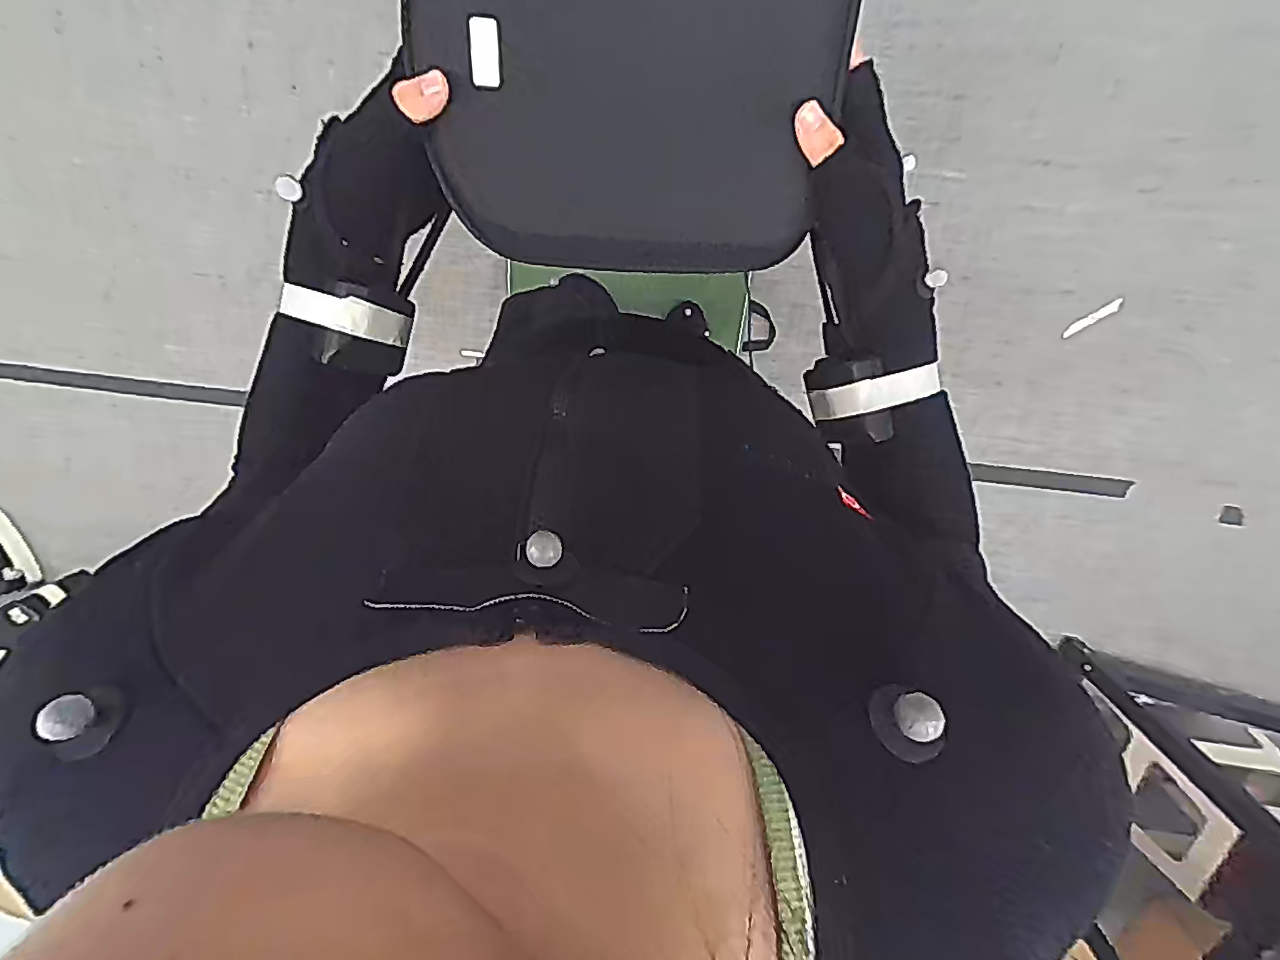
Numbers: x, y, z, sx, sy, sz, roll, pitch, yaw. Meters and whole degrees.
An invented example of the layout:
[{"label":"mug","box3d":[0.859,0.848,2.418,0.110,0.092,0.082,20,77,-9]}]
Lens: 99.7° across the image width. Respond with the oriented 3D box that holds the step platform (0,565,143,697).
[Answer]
[{"label":"step platform","box3d":[-2.103,0.544,1.852,0.684,0.204,0.286,-21,107,12]}]
